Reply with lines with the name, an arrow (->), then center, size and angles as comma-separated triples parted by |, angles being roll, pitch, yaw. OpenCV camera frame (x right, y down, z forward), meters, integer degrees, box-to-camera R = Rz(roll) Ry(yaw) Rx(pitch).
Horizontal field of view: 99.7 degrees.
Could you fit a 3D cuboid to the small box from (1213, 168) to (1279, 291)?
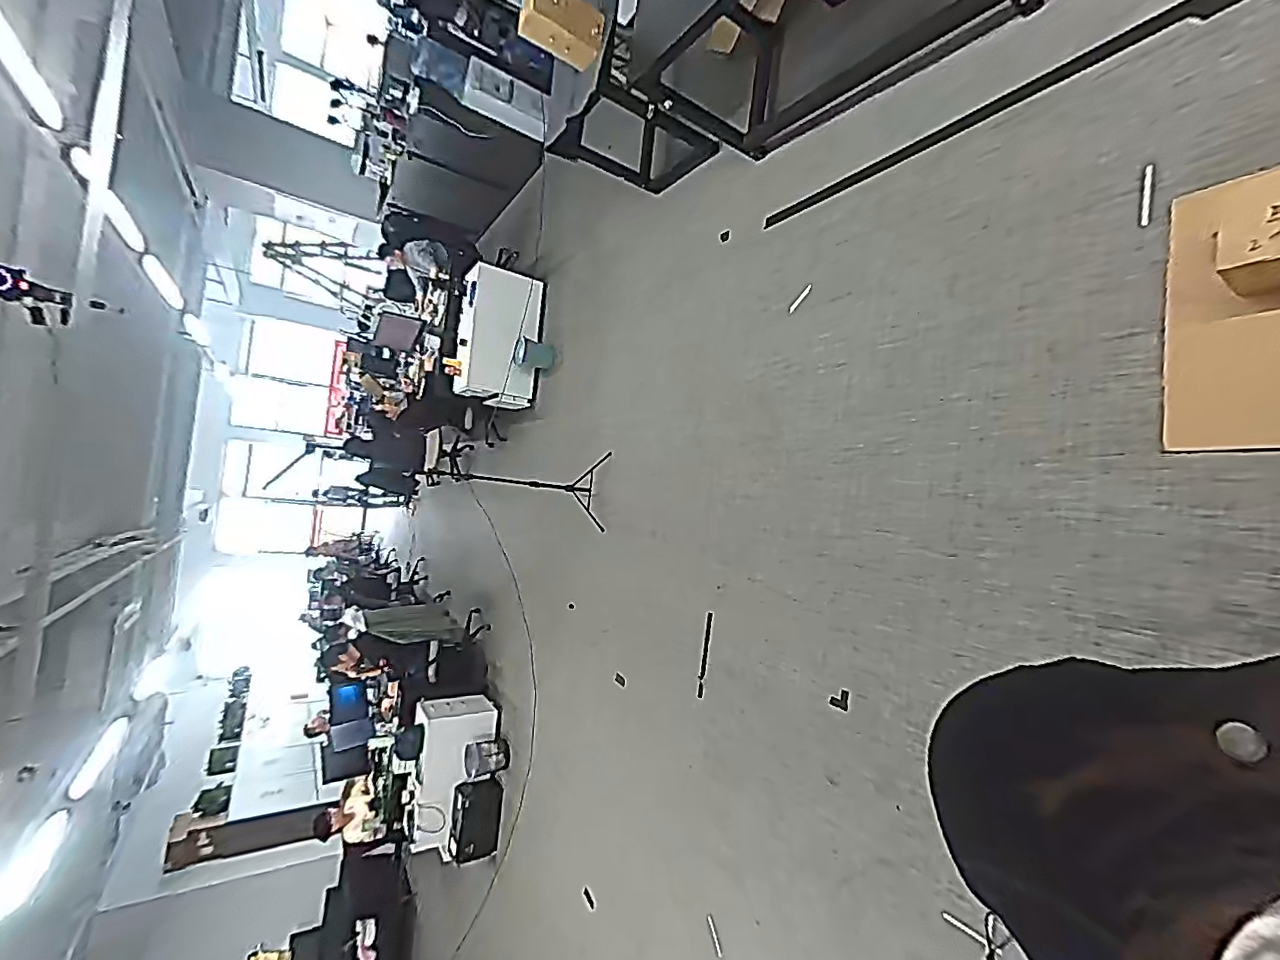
small box -> 1.281, -0.503, 1.074 | 0.168, 0.176, 0.179 | 0, 84, 57
